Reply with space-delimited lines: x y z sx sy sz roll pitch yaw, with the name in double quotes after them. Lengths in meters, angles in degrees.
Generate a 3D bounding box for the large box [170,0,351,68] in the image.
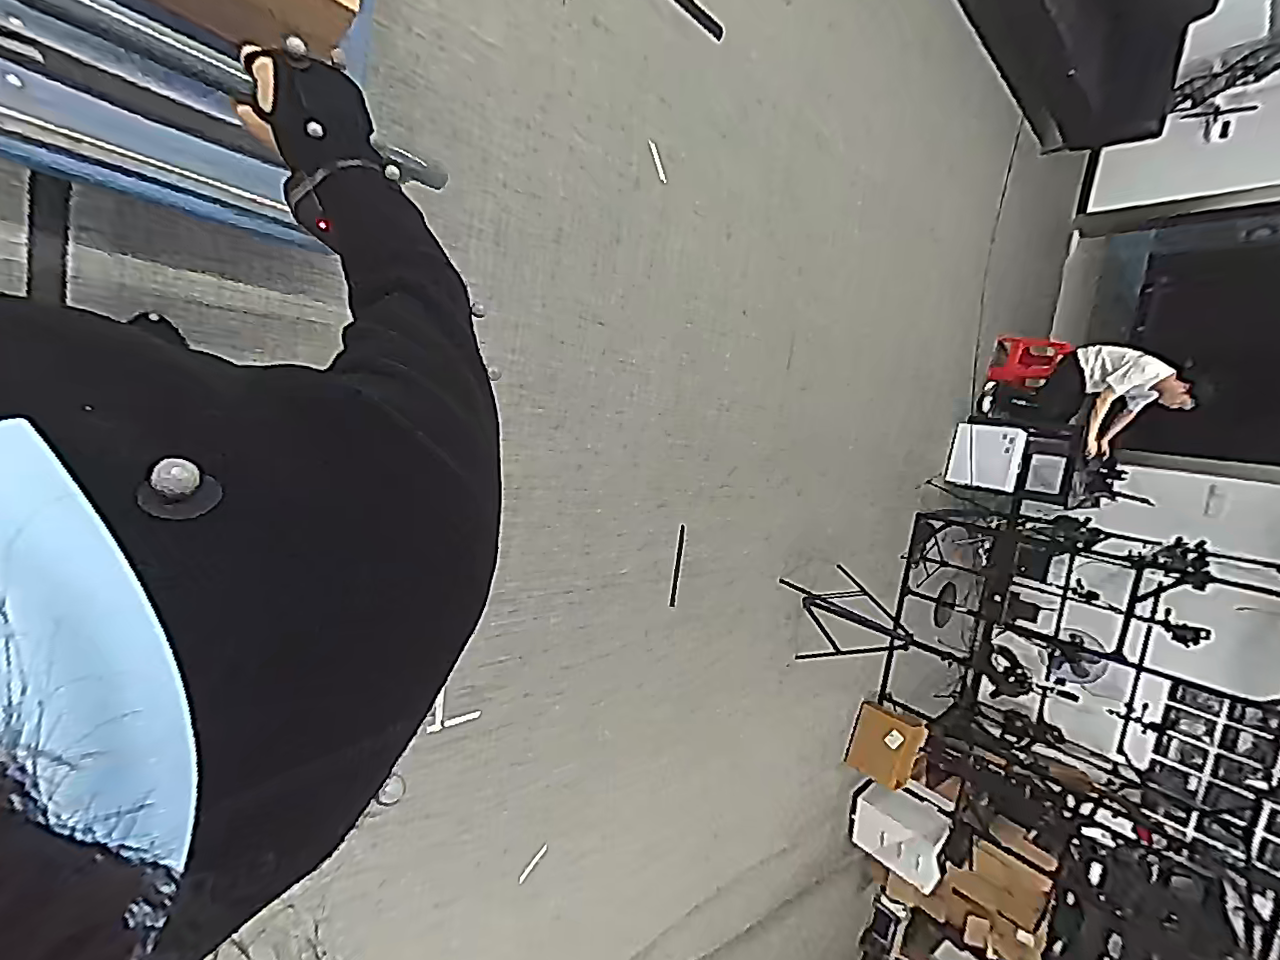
-0.665 -0.931 0.805 0.408 0.320 0.320 6 96 -42 "large box"
